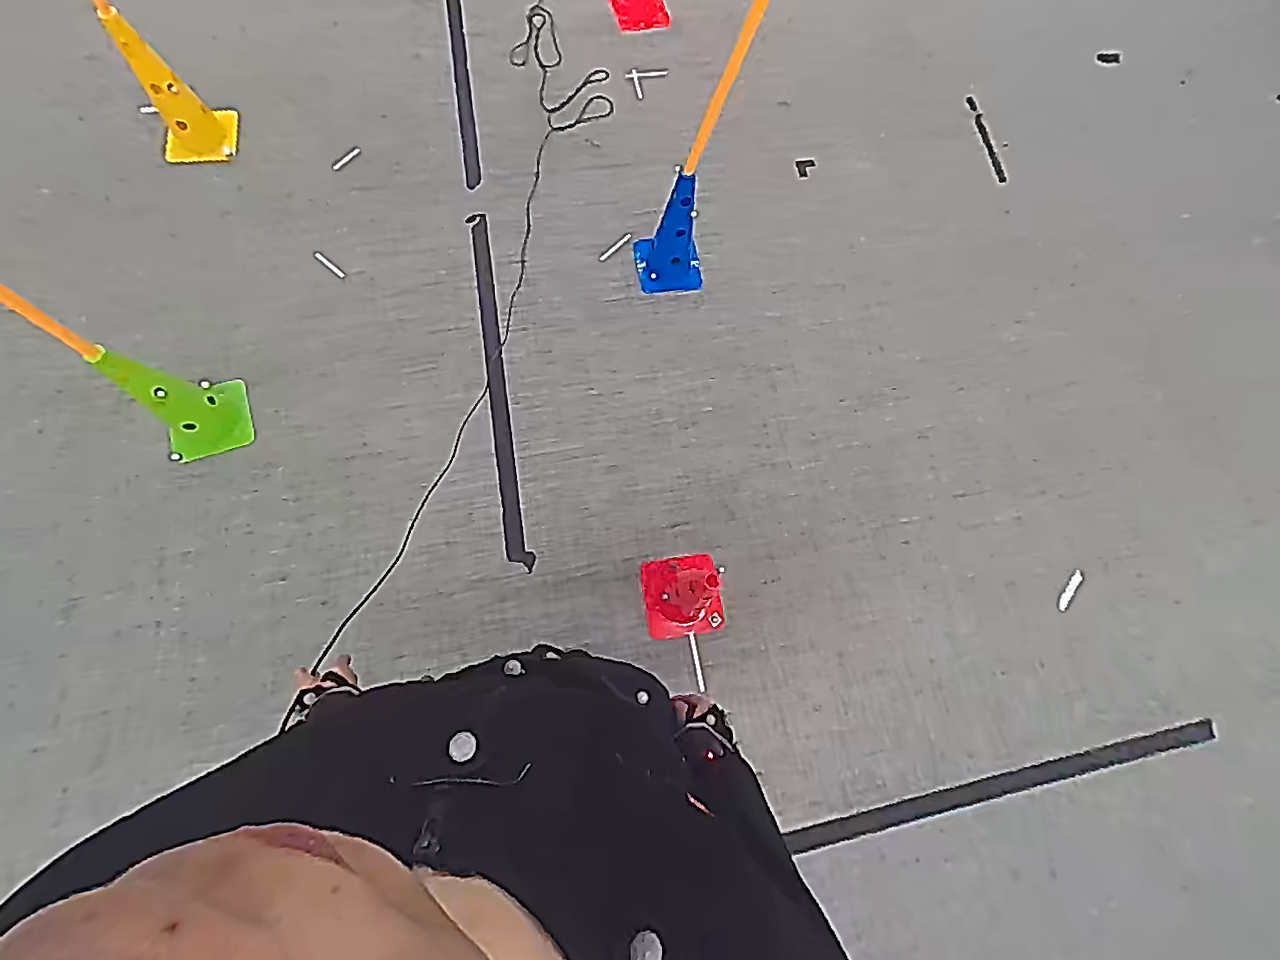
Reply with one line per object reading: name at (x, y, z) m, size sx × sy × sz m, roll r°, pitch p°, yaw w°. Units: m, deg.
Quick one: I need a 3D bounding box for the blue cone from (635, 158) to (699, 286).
blue cone at (0.101, -0.742, 1.547) m, size 0.193 × 0.380 × 0.192 m, roll -6°, pitch 73°, yaw -7°

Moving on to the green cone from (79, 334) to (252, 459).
green cone at (-1.129, -0.221, 1.269) m, size 0.200 × 0.368 × 0.202 m, roll -19°, pitch 74°, yaw -11°

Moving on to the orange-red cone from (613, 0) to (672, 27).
orange-red cone at (0.017, -1.809, 1.843) m, size 0.199 × 0.360 × 0.198 m, roll -14°, pitch 75°, yaw -8°
